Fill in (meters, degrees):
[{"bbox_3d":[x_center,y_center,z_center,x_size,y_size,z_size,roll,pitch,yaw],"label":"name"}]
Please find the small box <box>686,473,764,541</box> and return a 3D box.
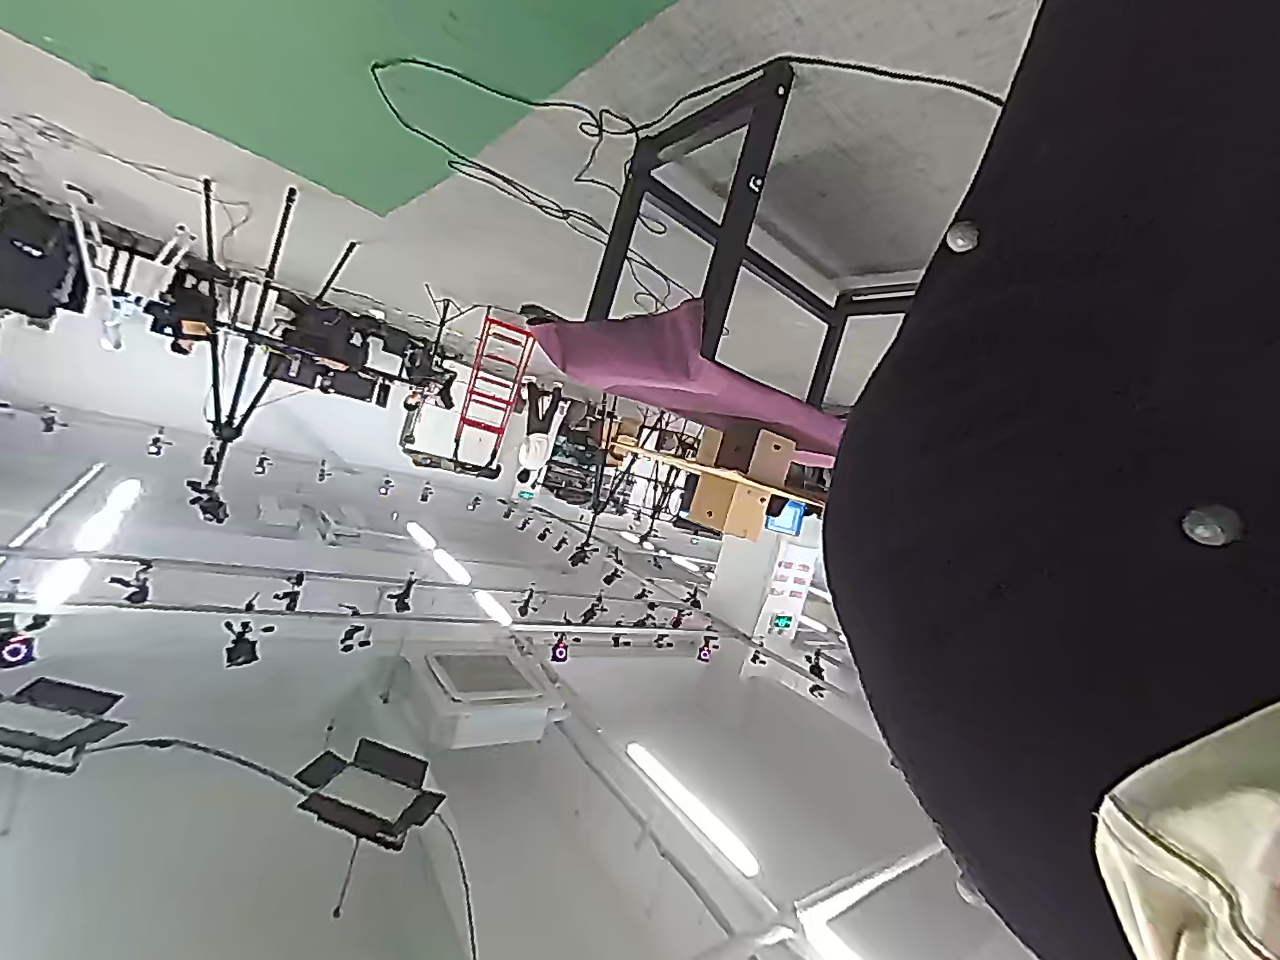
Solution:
[{"bbox_3d":[0.283,0.083,1.753,0.168,0.176,0.179,17,-179,-35],"label":"small box"}]
